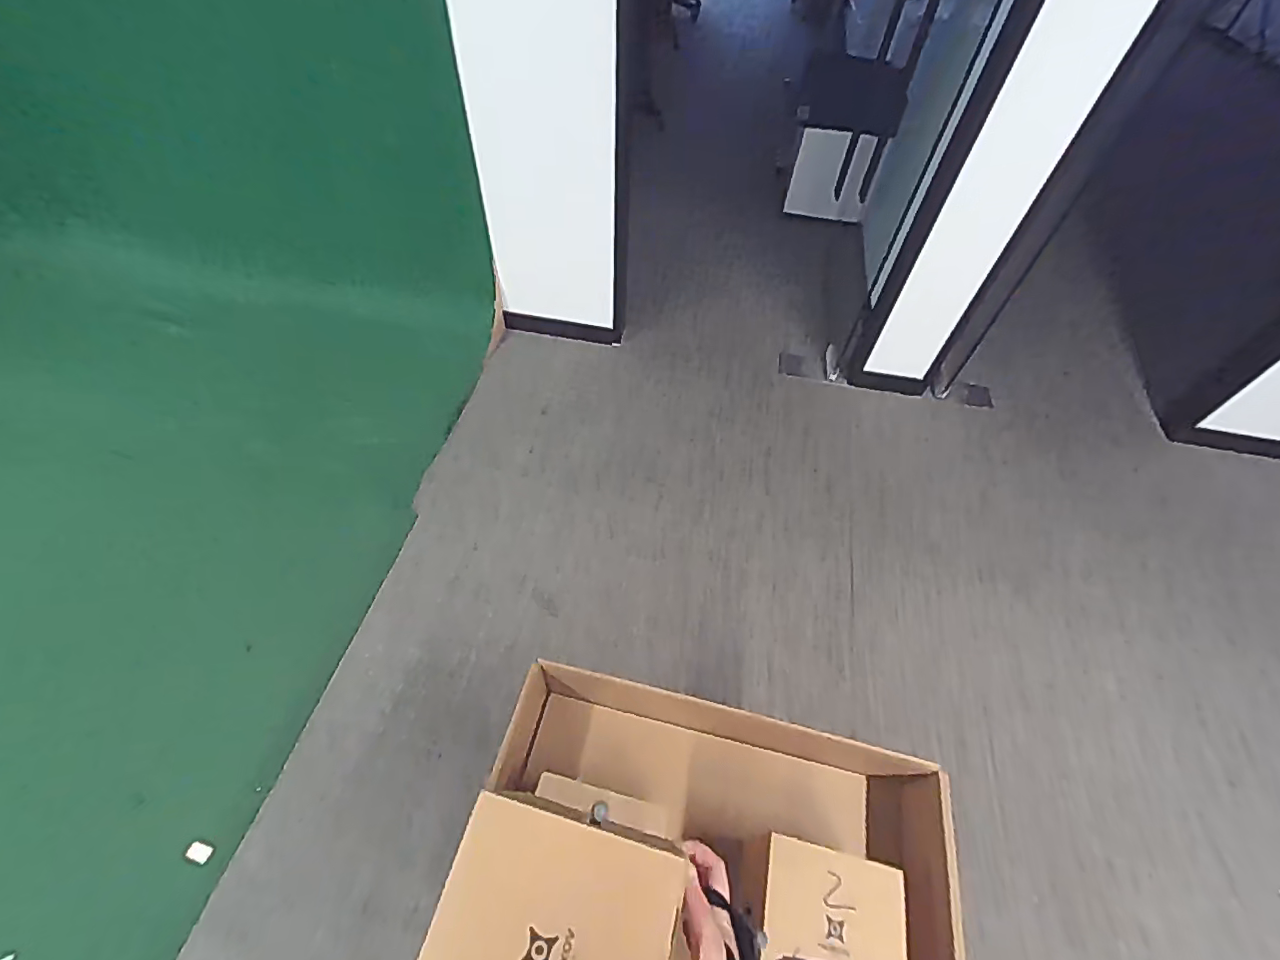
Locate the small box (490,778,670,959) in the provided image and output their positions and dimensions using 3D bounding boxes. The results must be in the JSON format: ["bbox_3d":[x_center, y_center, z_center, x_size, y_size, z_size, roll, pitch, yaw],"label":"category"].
[{"bbox_3d":[-0.070,0.519,0.710,0.179,0.176,0.168,14,54,6],"label":"small box"}]
